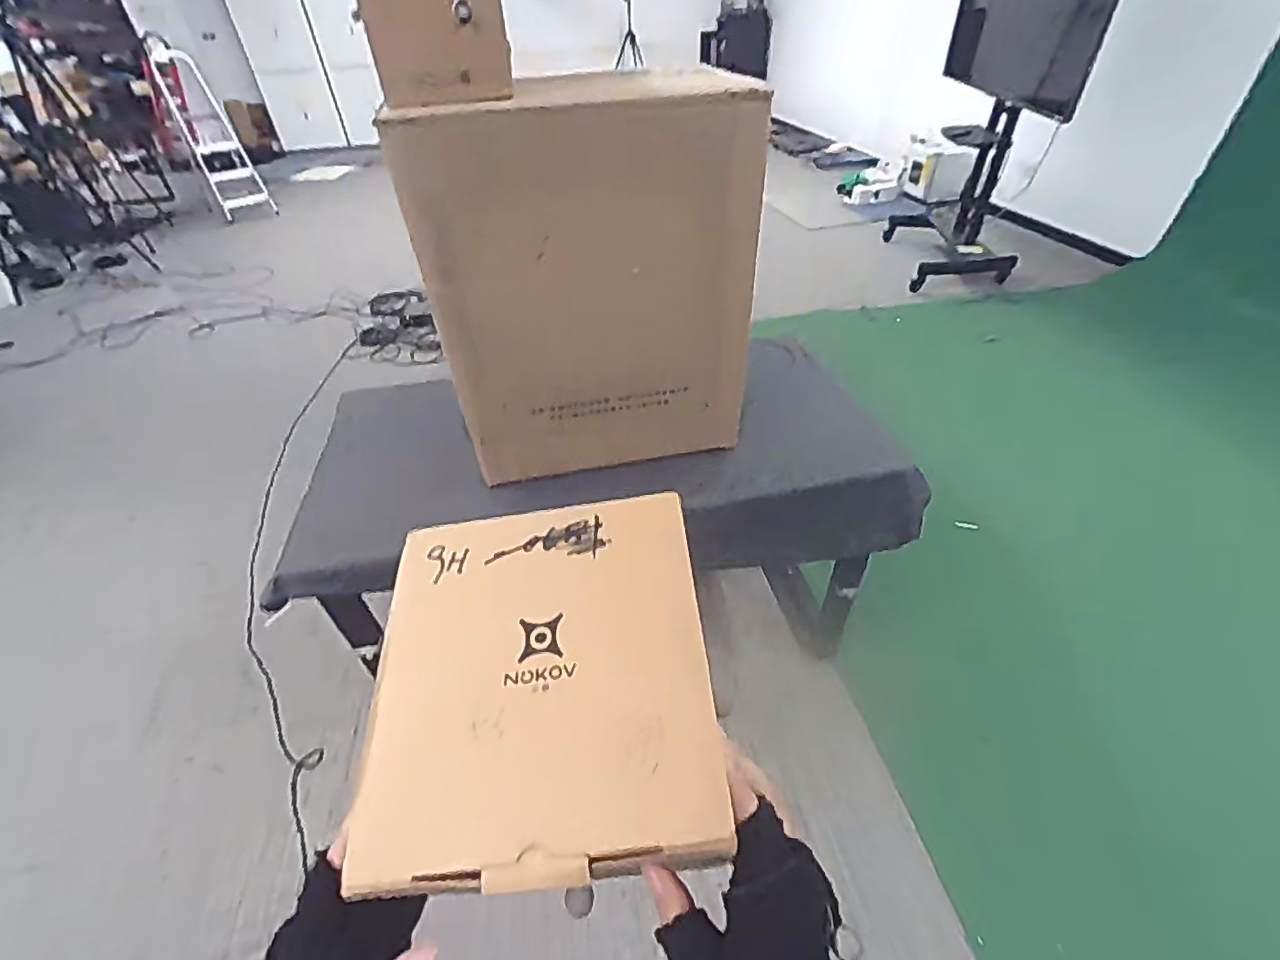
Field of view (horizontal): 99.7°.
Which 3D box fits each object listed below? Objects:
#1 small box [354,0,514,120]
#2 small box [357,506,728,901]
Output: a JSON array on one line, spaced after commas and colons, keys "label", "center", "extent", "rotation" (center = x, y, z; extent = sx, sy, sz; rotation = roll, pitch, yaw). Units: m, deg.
[{"label": "small box", "center": [-0.269, -0.588, 0.717], "extent": [0.168, 0.176, 0.179], "rotation": [-11, 42, -10]}, {"label": "small box", "center": [-0.039, 0.143, 0.341], "extent": [0.168, 0.176, 0.179], "rotation": [-9, 53, 3]}]
